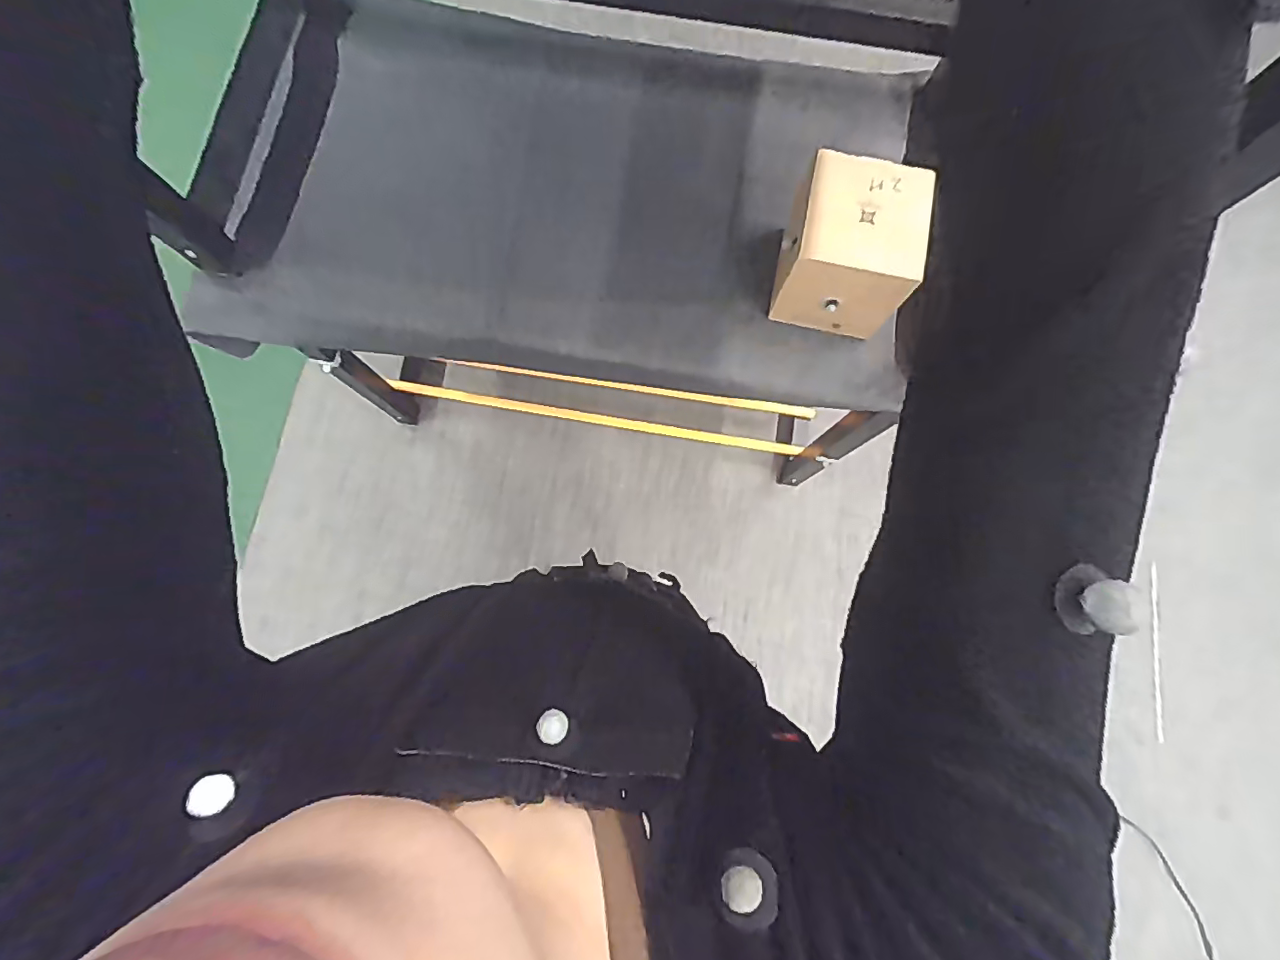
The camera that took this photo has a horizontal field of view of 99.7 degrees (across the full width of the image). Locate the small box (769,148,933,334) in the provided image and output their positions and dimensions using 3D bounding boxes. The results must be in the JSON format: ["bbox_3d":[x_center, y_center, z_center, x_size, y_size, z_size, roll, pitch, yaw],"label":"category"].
[{"bbox_3d":[0.300,-0.341,0.801,0.168,0.176,0.179,13,78,1],"label":"small box"}]
